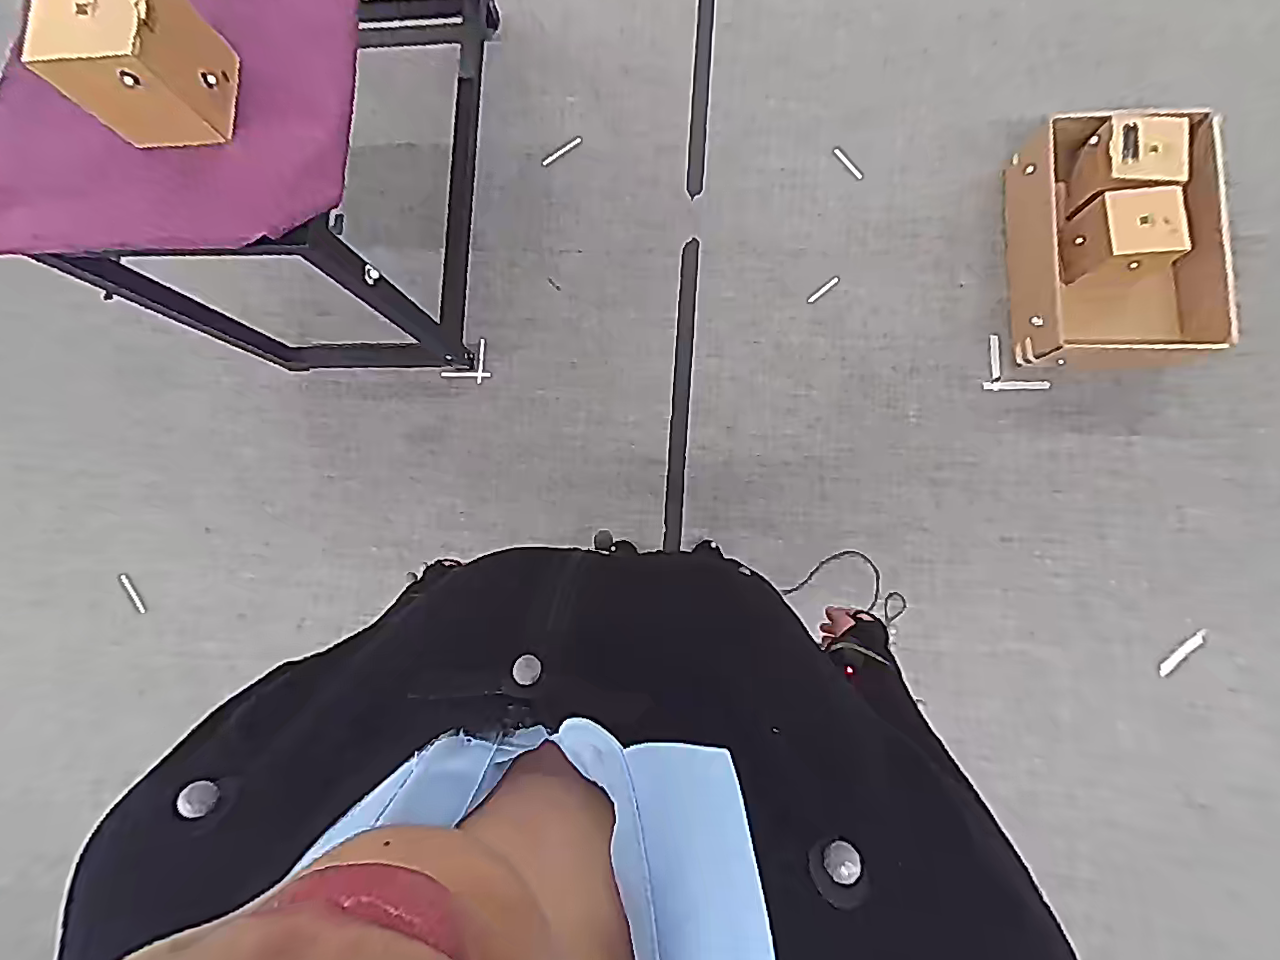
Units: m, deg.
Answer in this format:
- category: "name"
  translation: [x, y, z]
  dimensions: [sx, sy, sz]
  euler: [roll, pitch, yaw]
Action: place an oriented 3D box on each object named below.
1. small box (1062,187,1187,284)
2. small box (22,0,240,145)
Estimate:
- category: "small box"
  translation: [1.219, -0.614, 1.379]
  dimensions: [0.179, 0.176, 0.168]
  euler: [-2, 84, 4]
- category: "small box"
  translation: [-0.784, -0.660, 0.850]
  dimensions: [0.179, 0.176, 0.168]
  euler: [-1, 82, 4]
